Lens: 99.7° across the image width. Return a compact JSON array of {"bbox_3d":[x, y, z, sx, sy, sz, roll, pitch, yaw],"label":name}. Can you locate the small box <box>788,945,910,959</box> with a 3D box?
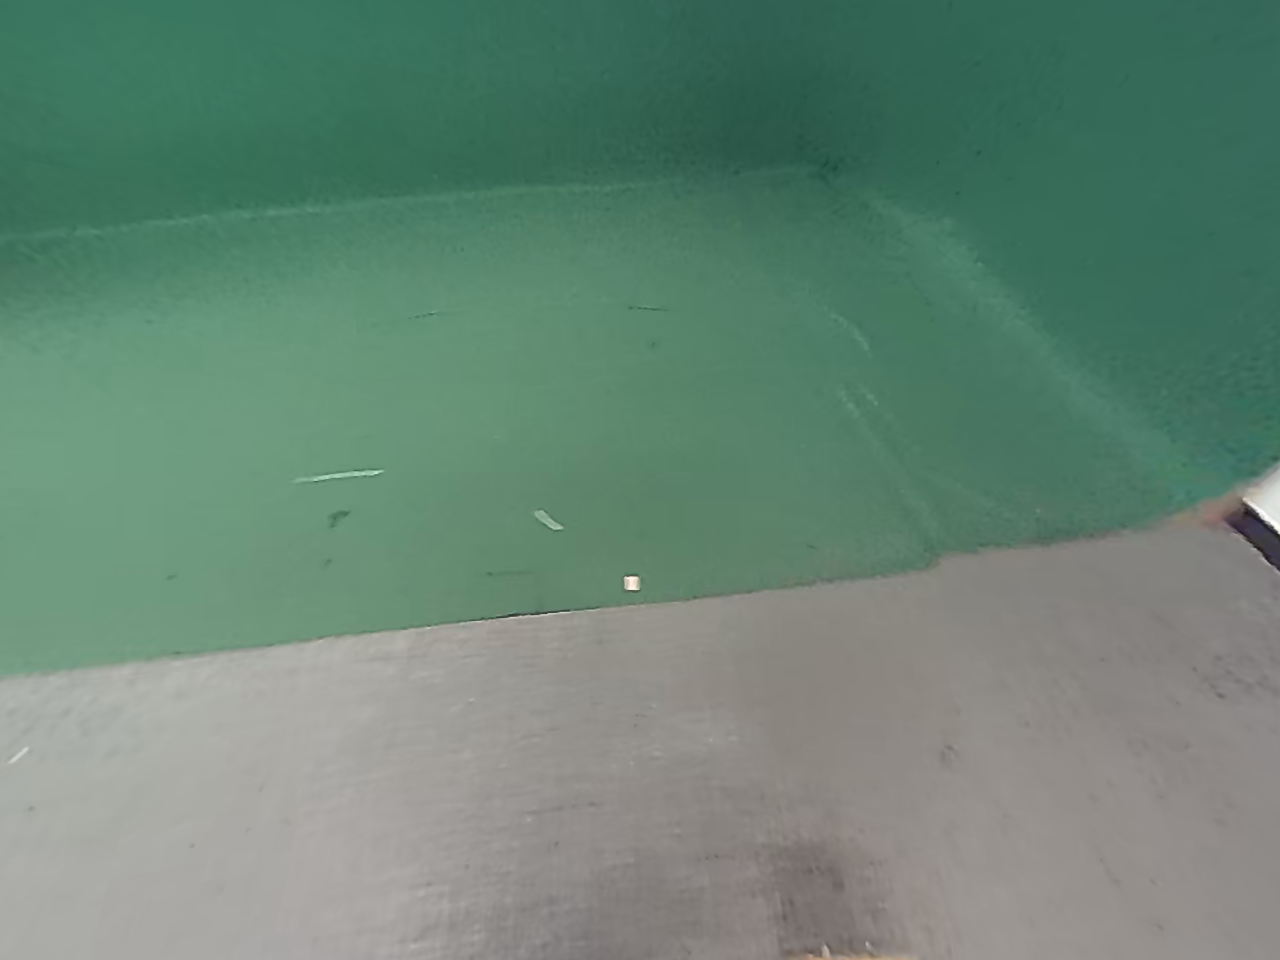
[{"bbox_3d":[0.330,0.825,0.820,0.168,0.176,0.179,-4,47,2],"label":"small box"}]

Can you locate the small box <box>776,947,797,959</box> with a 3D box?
[{"bbox_3d":[0.340,0.932,0.940,0.168,0.176,0.179,-2,47,2],"label":"small box"}]
